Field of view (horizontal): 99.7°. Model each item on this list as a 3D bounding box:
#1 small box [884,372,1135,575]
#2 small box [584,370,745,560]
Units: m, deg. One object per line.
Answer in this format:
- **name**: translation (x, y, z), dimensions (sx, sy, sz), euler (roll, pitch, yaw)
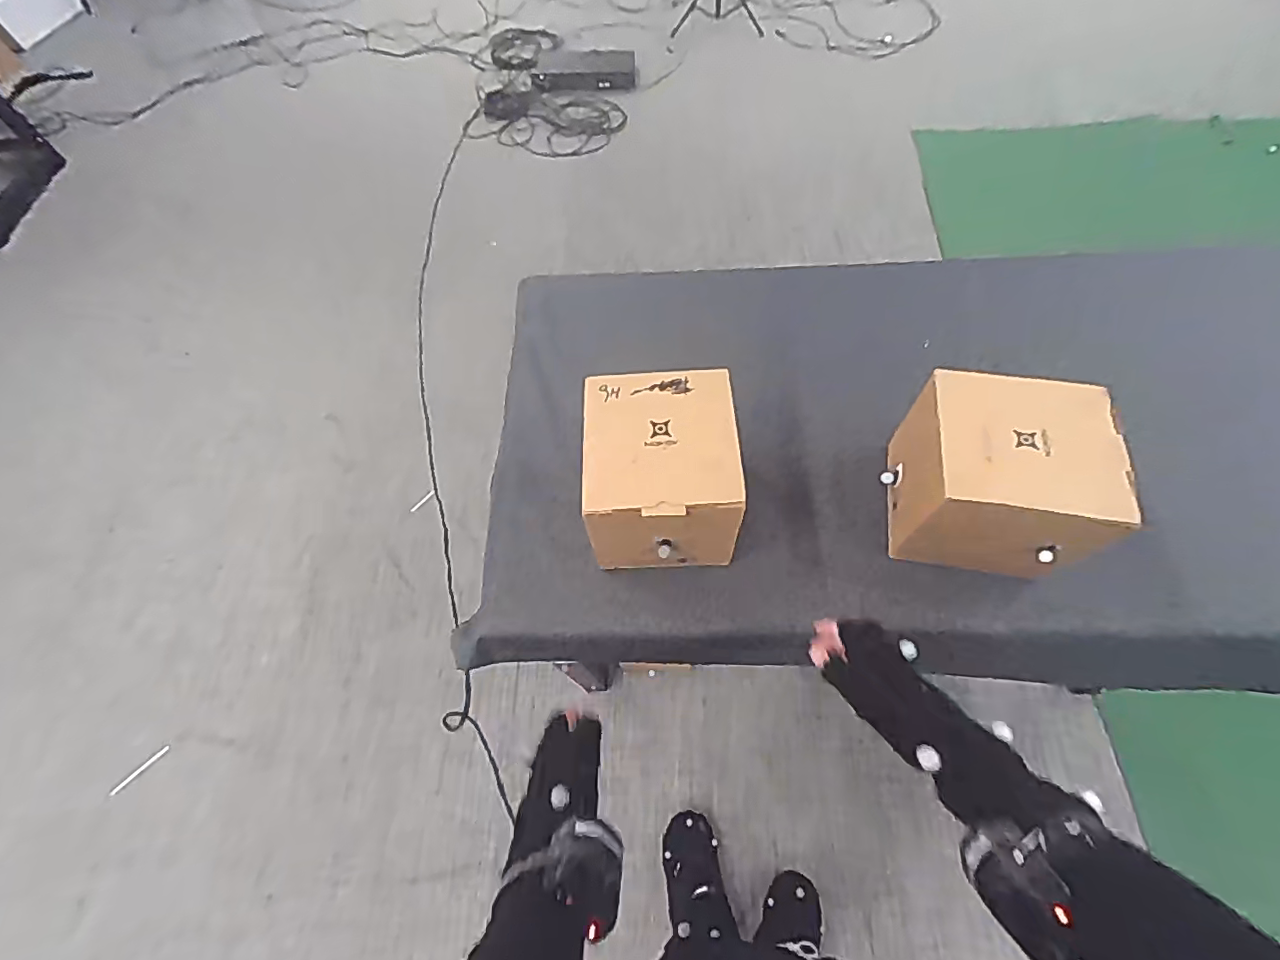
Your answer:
- **small box**: translation (0.402, 0.000, 0.627), dimensions (0.179, 0.176, 0.168), euler (7, 61, 8)
- **small box**: translation (0.028, -0.008, 0.650), dimensions (0.168, 0.176, 0.179), euler (-2, 61, 1)
